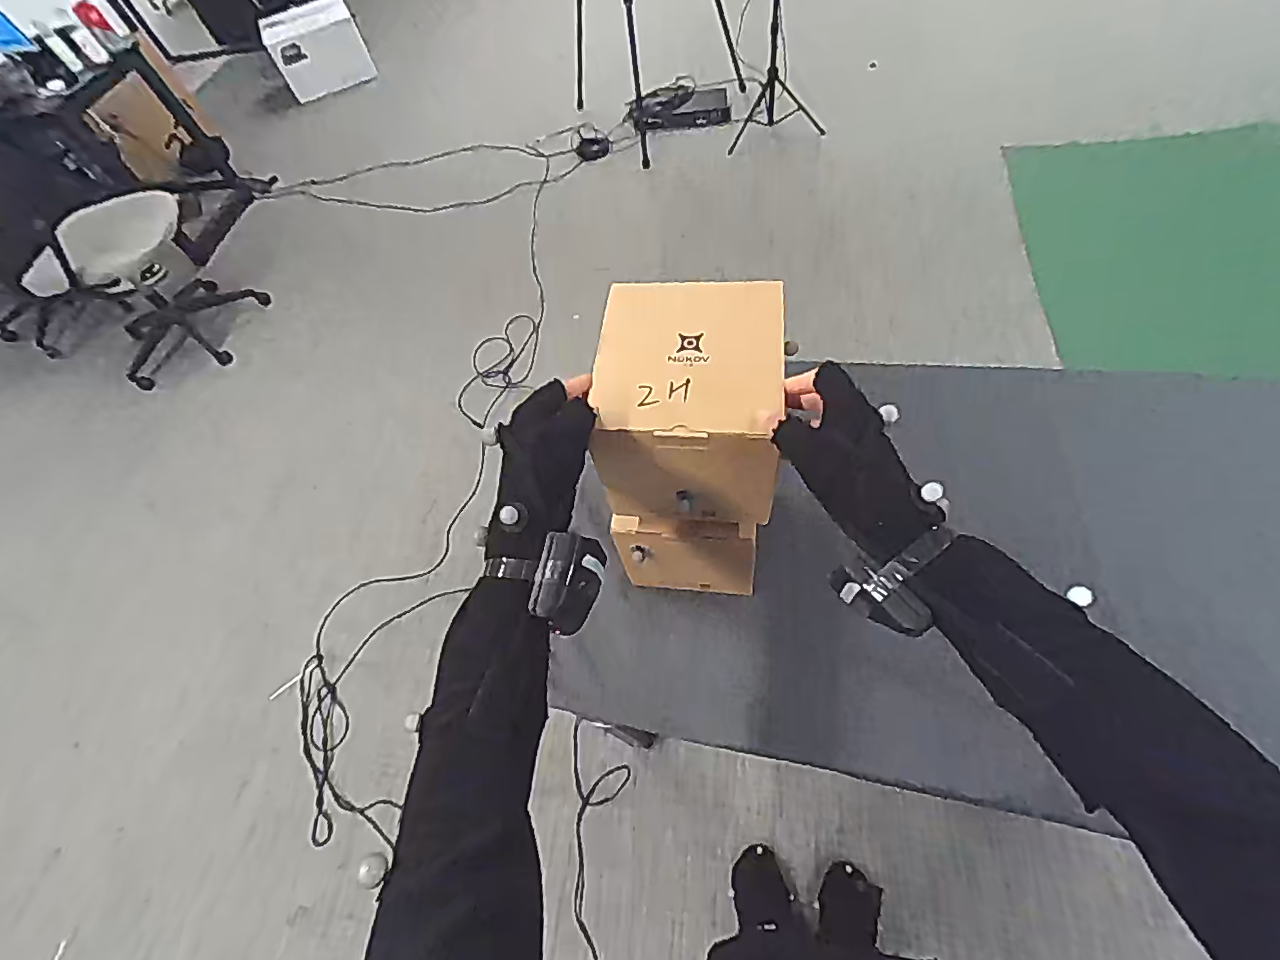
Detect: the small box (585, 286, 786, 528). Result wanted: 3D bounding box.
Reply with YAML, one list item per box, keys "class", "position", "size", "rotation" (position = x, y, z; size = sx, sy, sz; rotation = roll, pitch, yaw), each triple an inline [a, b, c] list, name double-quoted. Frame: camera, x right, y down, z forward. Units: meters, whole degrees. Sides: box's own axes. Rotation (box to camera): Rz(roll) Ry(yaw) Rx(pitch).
- class: "small box"
  position: [0.053, -0.070, 0.545]
  size: [0.168, 0.176, 0.179]
  rotation: [3, 61, 10]
